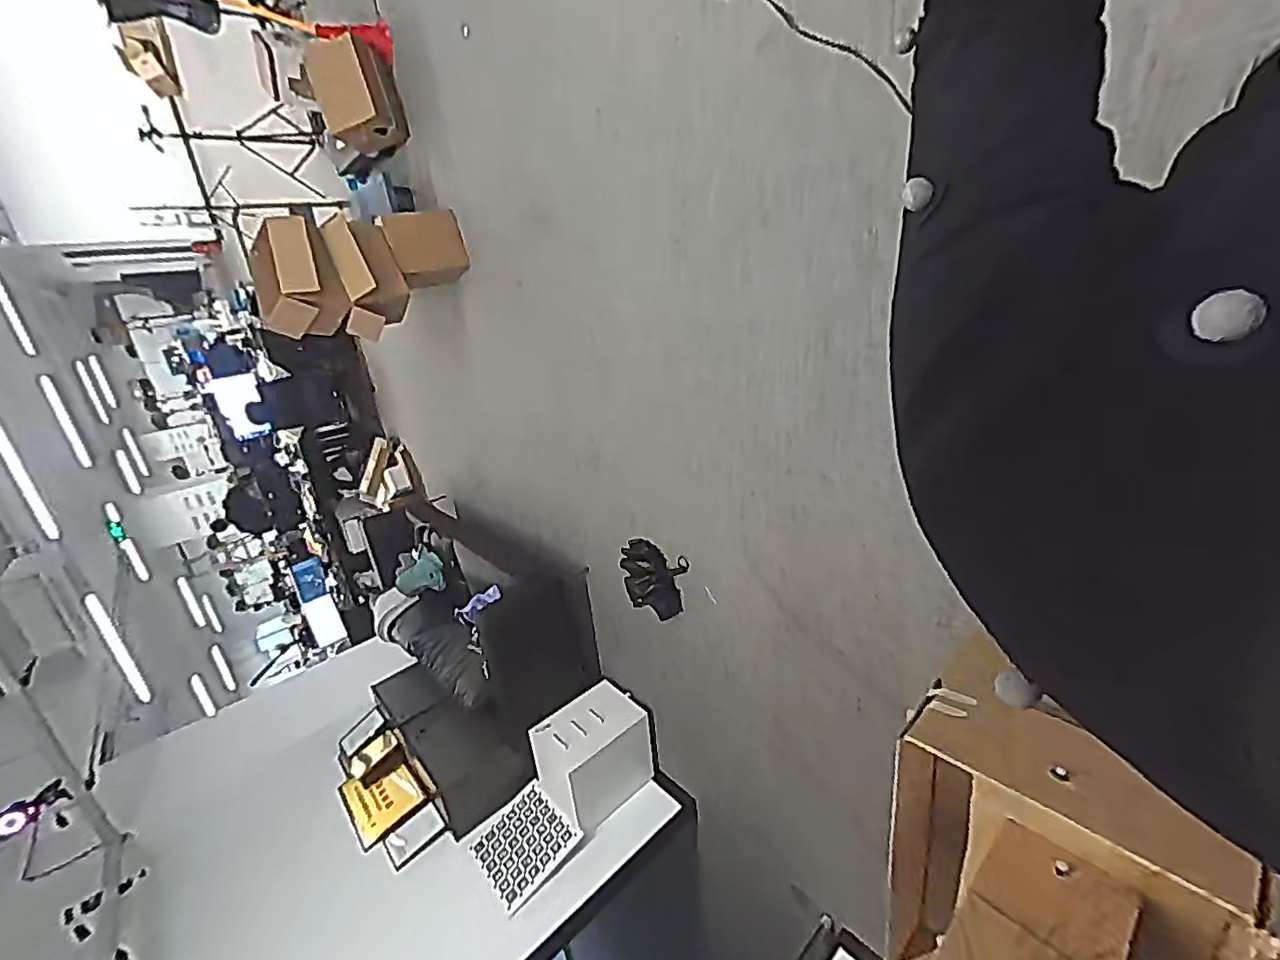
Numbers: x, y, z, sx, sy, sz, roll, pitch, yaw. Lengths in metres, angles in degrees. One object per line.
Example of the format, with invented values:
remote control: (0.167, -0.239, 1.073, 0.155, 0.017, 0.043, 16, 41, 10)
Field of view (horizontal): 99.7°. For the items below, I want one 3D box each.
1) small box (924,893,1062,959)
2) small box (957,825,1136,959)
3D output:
small box: (0.485, 0.725, 0.730, 0.179, 0.176, 0.168, 20, 124, 47)
small box: (0.610, 0.675, 0.825, 0.179, 0.176, 0.168, 16, 123, 49)
